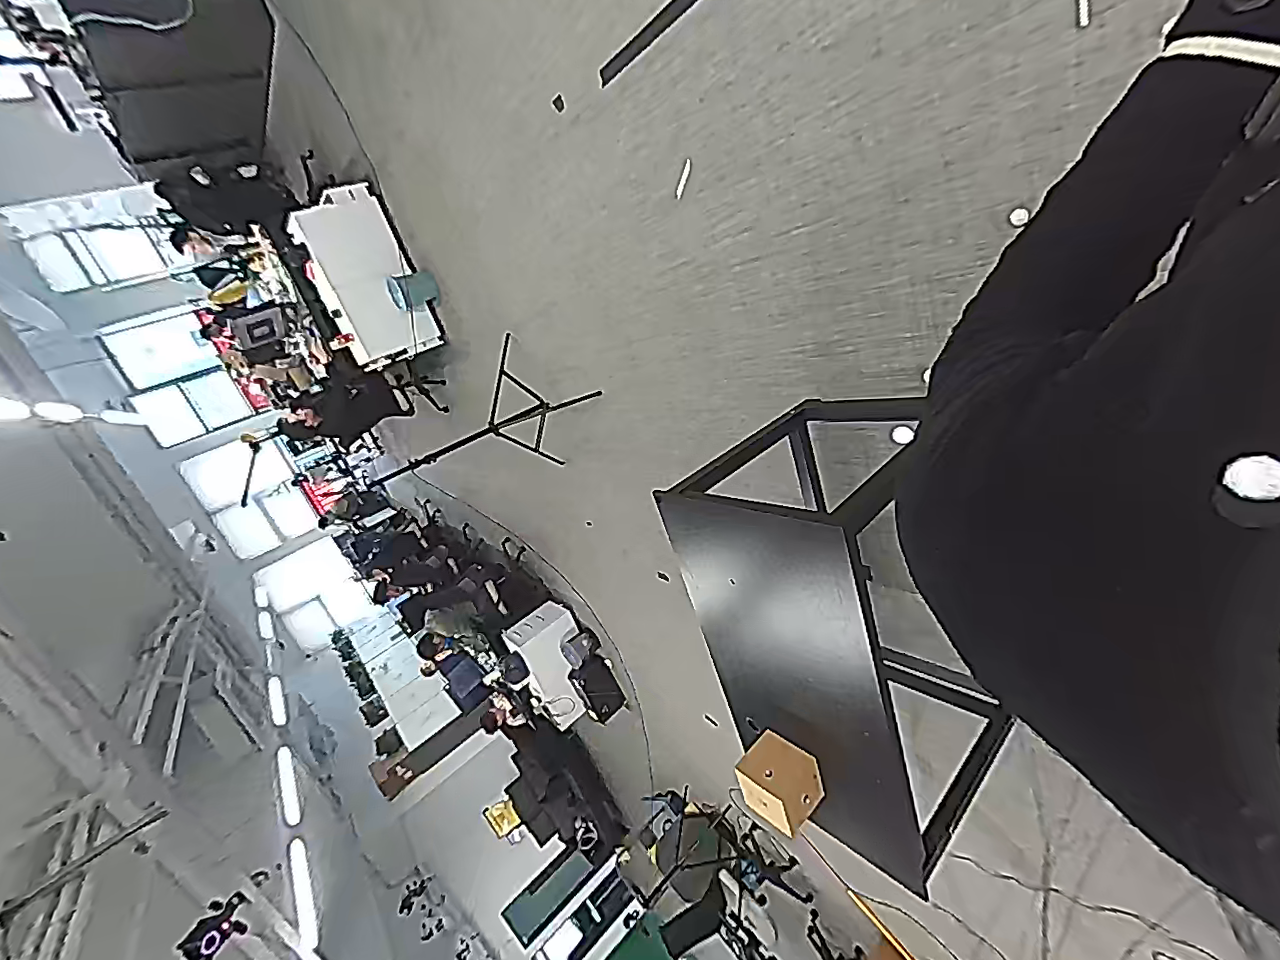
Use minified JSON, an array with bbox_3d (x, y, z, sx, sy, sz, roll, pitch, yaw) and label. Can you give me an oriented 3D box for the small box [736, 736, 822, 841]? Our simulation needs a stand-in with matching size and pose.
[{"bbox_3d":[0.416,0.896,1.592,0.179,0.176,0.168,13,127,52],"label":"small box"}]
